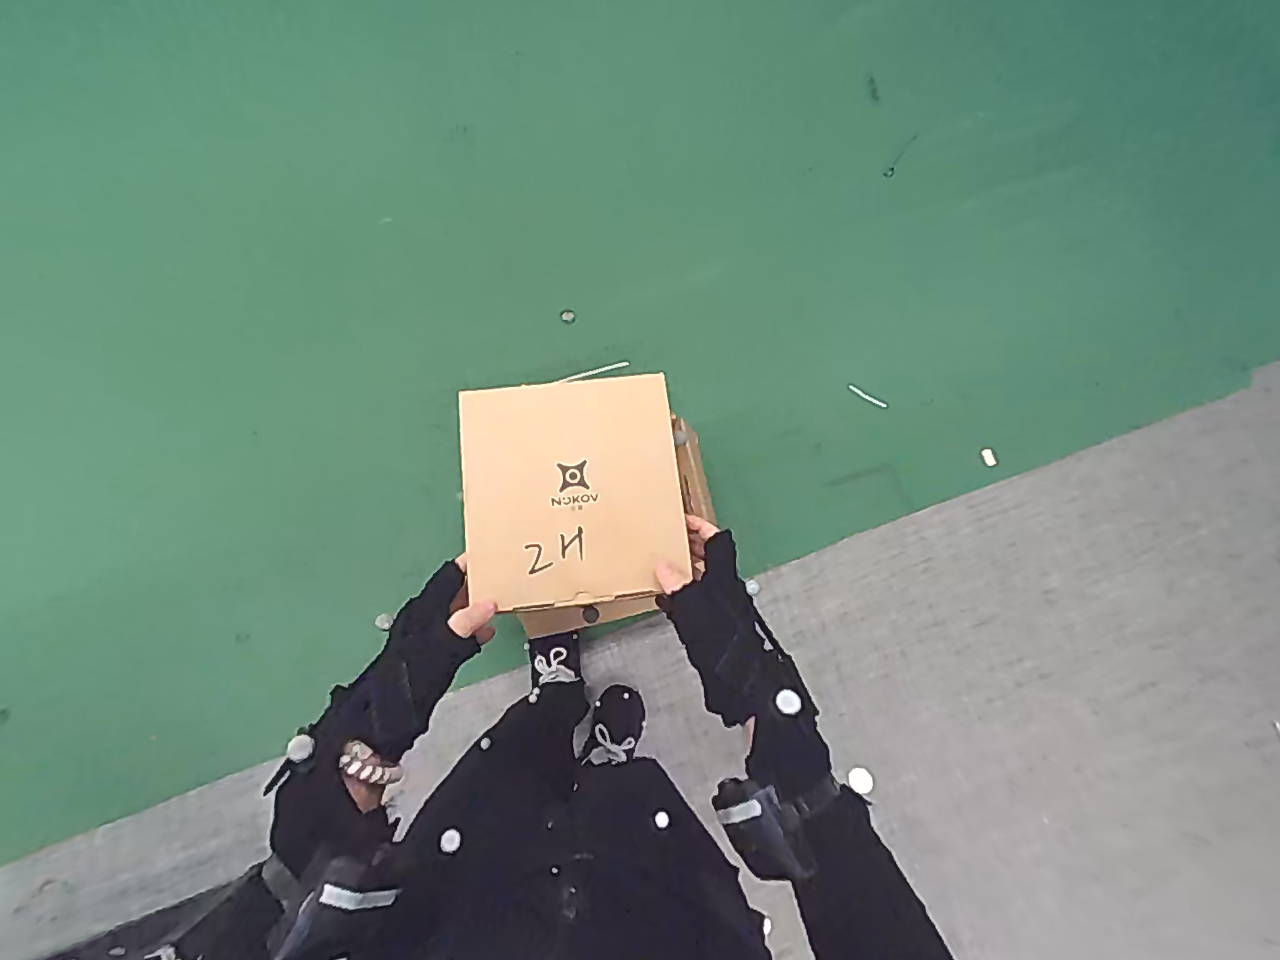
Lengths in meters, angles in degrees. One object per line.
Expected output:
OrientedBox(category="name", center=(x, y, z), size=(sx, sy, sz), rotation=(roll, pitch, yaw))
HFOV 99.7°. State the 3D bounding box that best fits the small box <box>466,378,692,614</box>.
OrientedBox(category="small box", center=(-0.055, 0.026, 0.495), size=(0.168, 0.176, 0.179), rotation=(-6, 77, -4))
